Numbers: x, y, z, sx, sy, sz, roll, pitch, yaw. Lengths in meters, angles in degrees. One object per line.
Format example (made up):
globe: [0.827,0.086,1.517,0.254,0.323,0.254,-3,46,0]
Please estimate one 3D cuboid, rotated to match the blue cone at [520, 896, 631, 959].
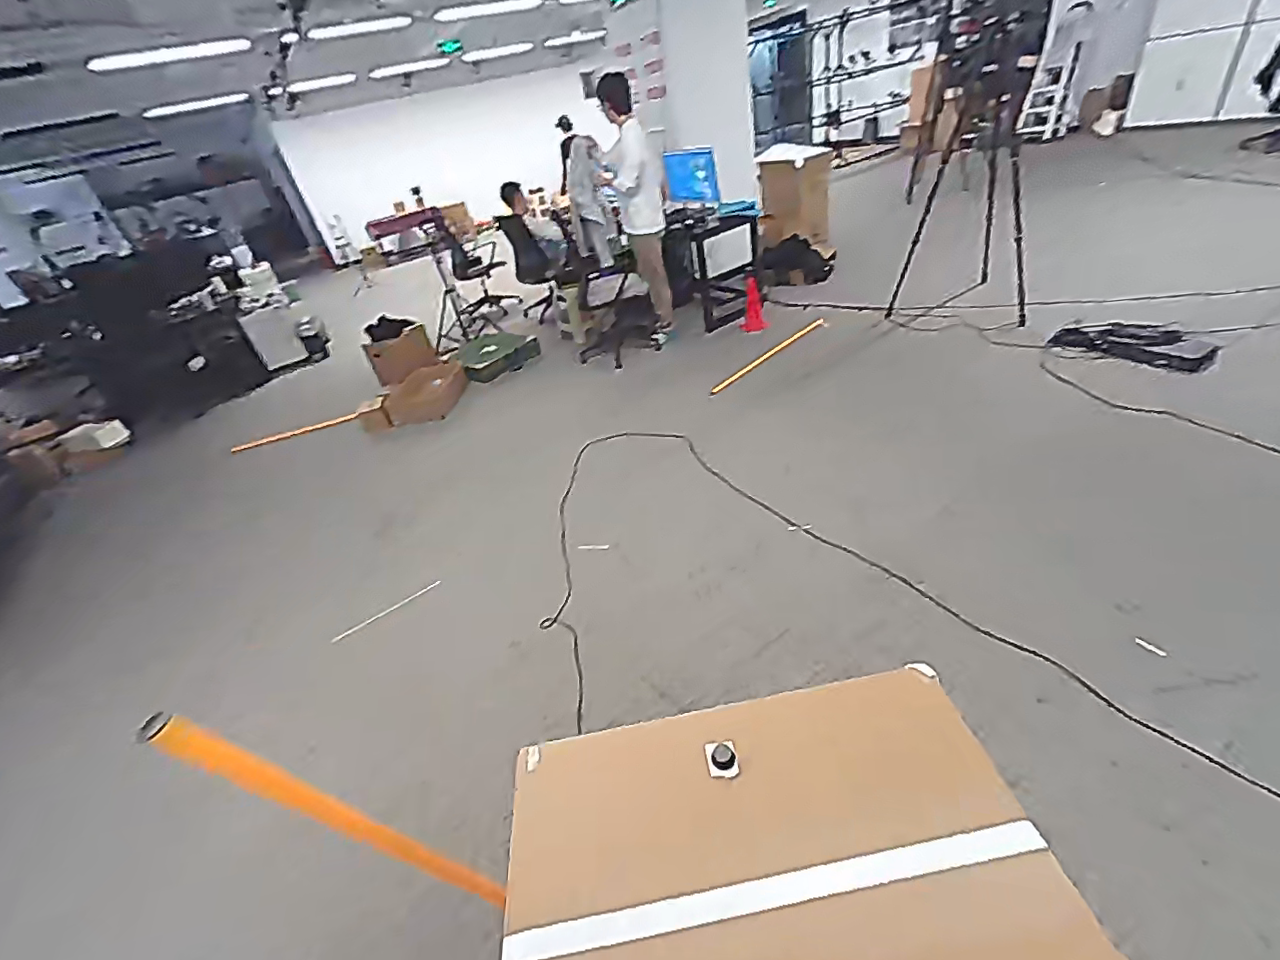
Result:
blue cone: [-0.164,0.946,1.106,0.193,0.380,0.192,-32,38,-22]
